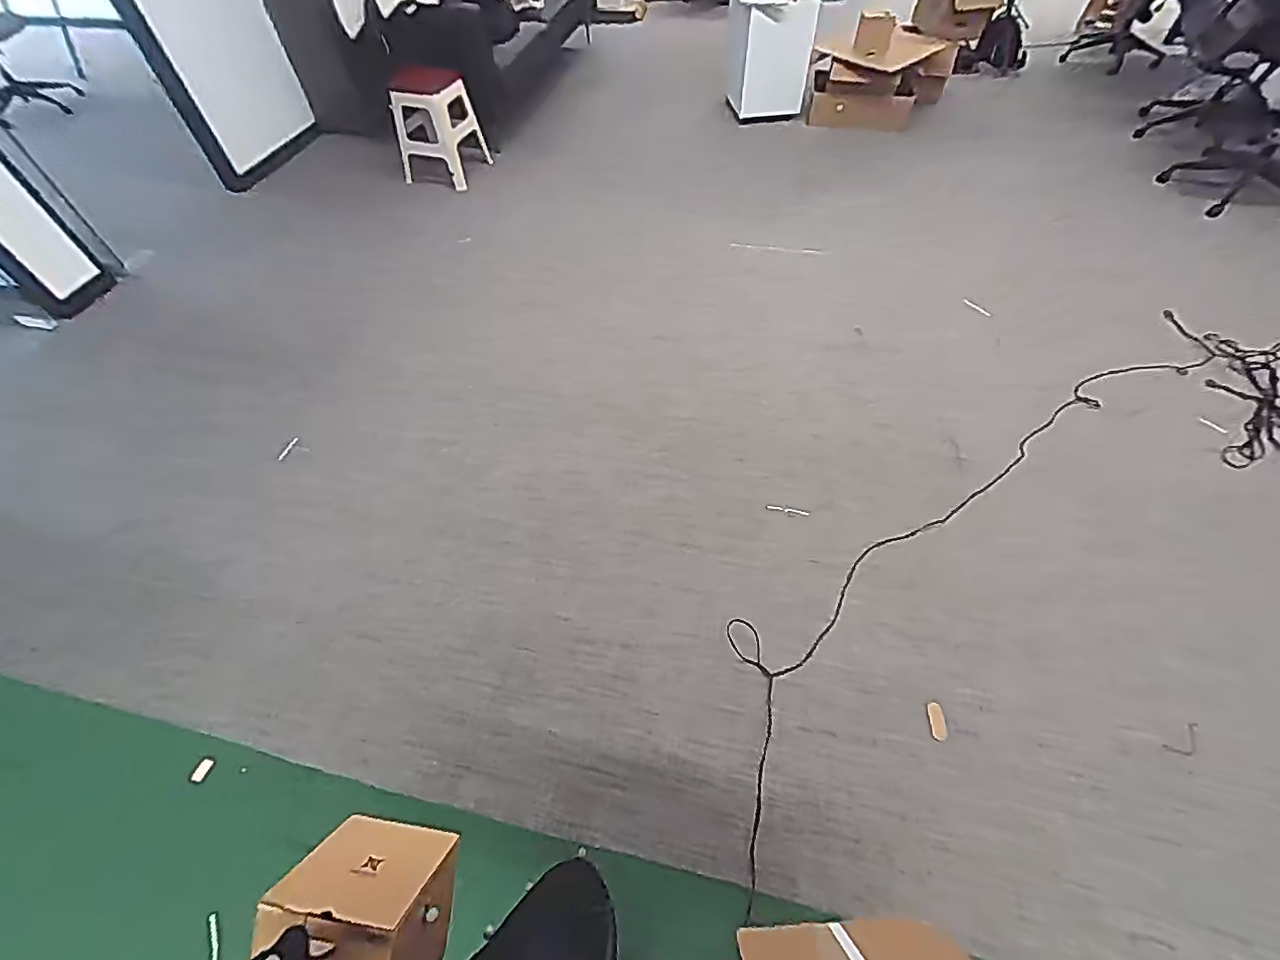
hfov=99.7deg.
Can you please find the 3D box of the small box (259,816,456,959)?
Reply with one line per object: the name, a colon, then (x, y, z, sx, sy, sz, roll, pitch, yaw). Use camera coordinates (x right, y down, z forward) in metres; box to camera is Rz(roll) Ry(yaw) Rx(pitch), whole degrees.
small box: (-0.359, 0.577, 0.691, 0.168, 0.179, 0.176, 7, 90, 6)
